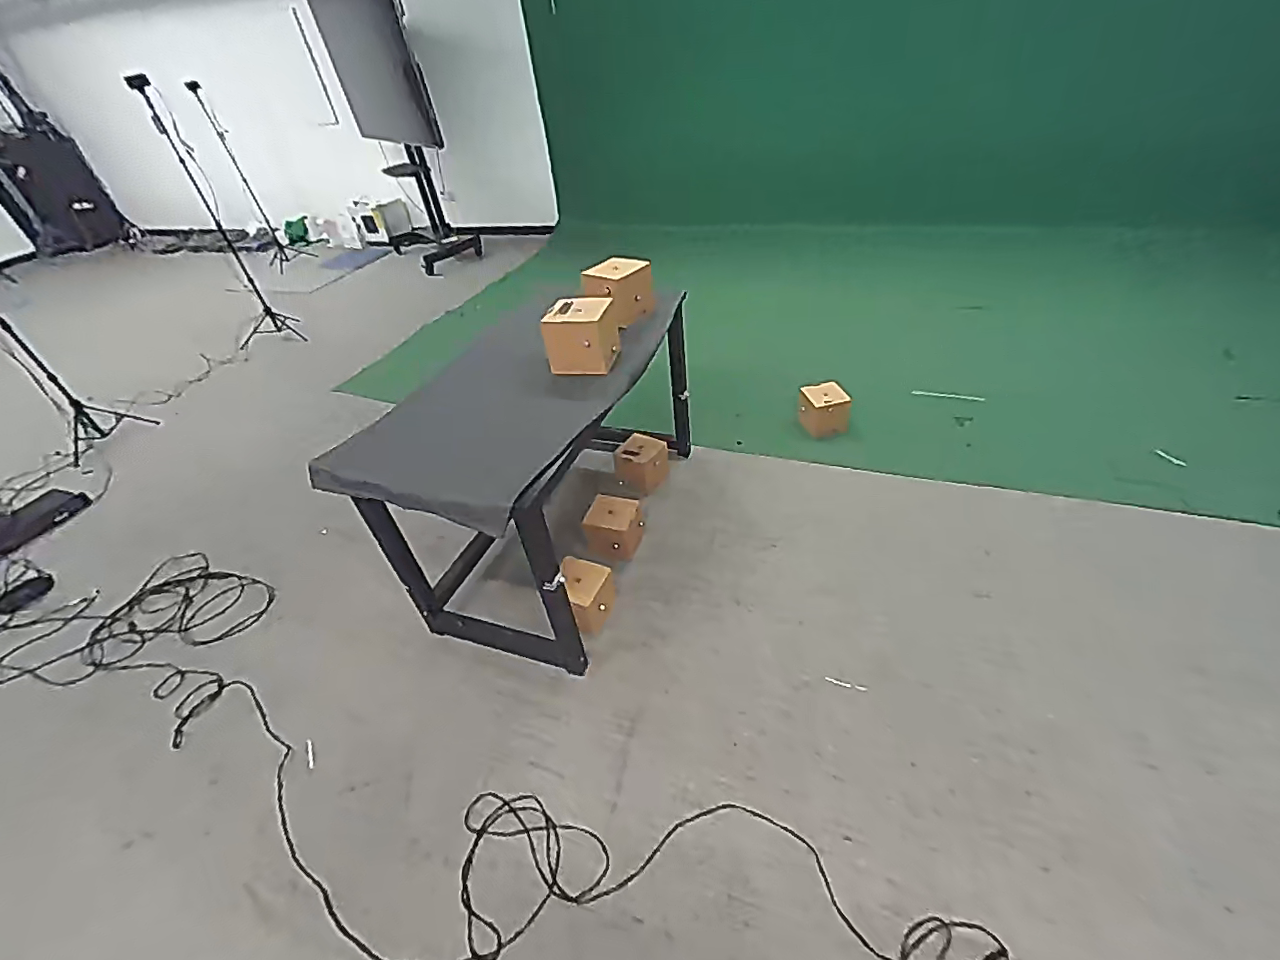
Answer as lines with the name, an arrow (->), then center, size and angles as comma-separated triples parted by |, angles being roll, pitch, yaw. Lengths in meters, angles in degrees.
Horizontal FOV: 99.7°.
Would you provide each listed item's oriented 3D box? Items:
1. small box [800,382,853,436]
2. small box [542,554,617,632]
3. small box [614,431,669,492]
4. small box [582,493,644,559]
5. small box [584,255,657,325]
small box -> 0.839, -0.323, 2.456 | 0.168, 0.176, 0.179 | -12, 39, -5
small box -> -0.192, 0.379, 1.791 | 0.179, 0.176, 0.168 | 12, 44, 23
small box -> 0.012, -0.077, 2.291 | 0.168, 0.176, 0.179 | 20, 46, 28
small box -> -0.092, 0.174, 2.013 | 0.179, 0.176, 0.168 | 7, 42, 18
small box -> -0.061, -0.642, 1.833 | 0.179, 0.176, 0.168 | 25, 50, 36
